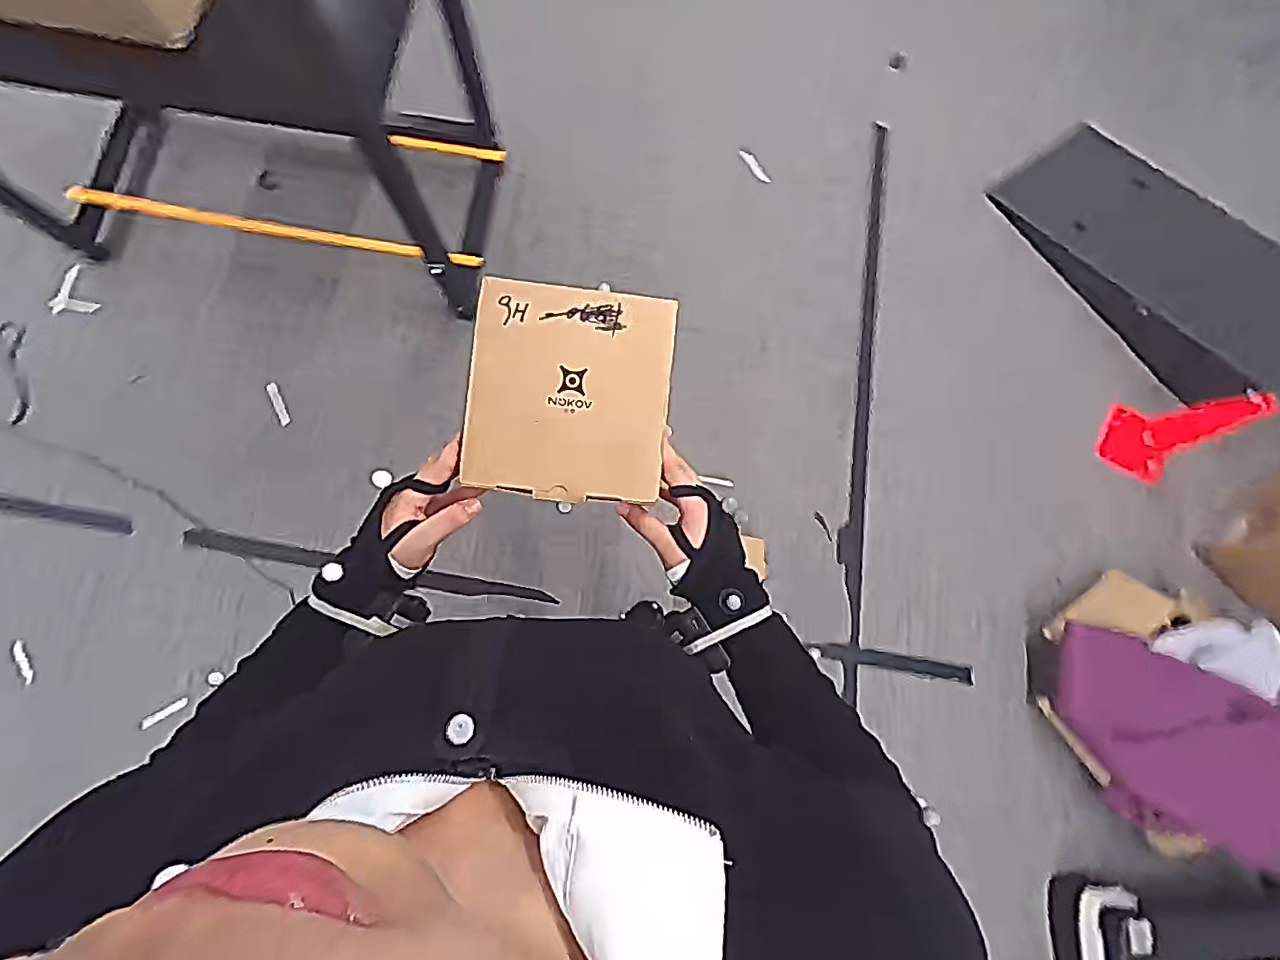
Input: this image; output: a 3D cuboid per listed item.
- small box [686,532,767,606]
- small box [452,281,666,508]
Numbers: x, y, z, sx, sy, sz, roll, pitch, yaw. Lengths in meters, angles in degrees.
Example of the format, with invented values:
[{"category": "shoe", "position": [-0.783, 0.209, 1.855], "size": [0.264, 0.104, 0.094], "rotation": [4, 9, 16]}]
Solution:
[{"category": "small box", "position": [0.227, 0.240, 1.445], "size": [0.179, 0.176, 0.168], "rotation": [8, 77, 0]}, {"category": "small box", "position": [-0.070, -0.069, 0.524], "size": [0.168, 0.176, 0.179], "rotation": [4, 89, -4]}]
